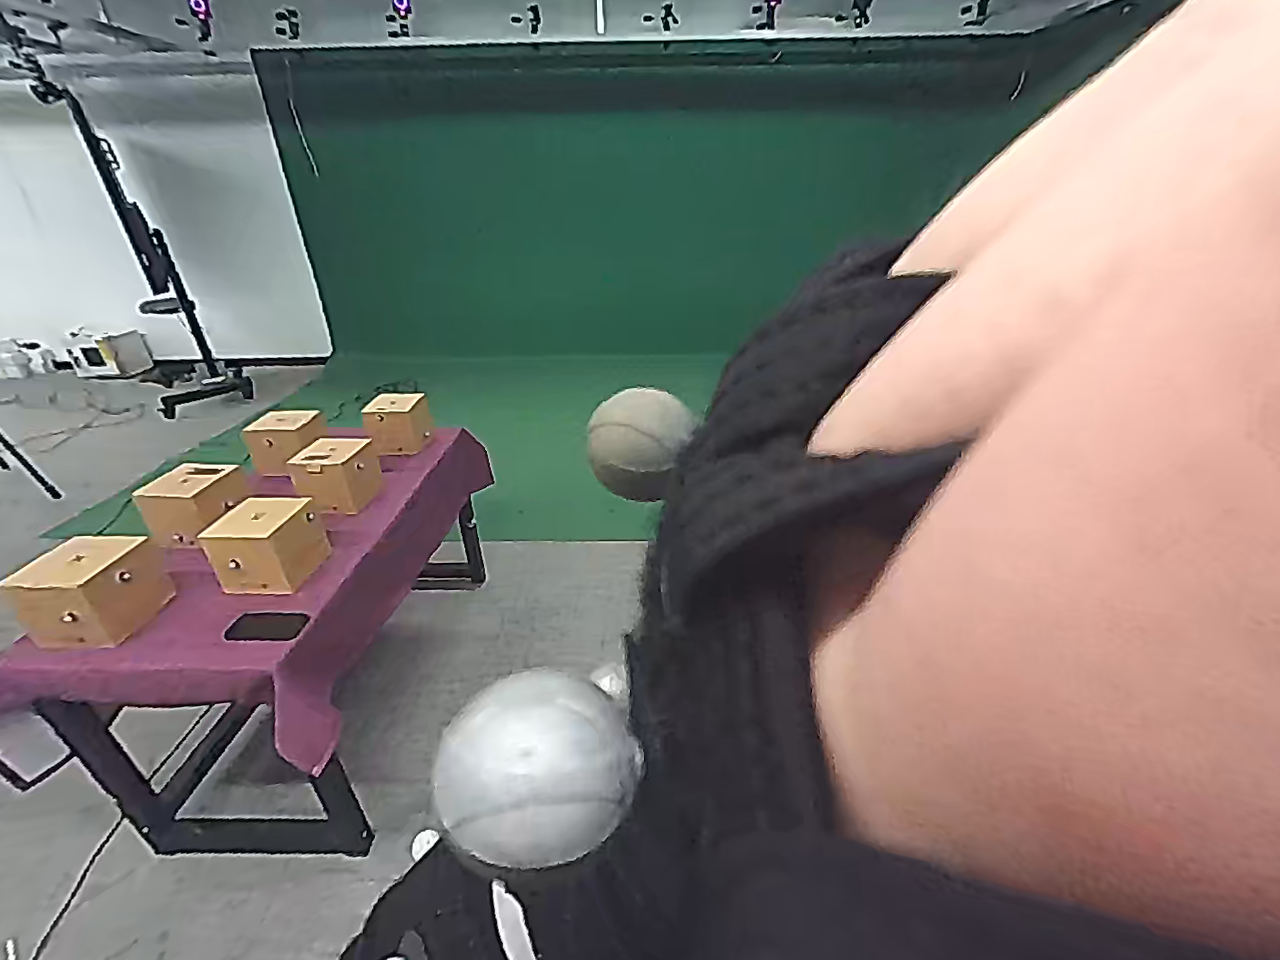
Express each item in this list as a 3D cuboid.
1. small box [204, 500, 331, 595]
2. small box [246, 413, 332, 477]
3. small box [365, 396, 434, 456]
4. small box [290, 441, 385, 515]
[{"bbox_3d":[-0.884,0.164,1.308,0.168,0.176,0.179,0,28,3],"label":"small box"},{"bbox_3d":[-1.170,-0.117,1.825,0.179,0.176,0.168,-1,29,-1],"label":"small box"},{"bbox_3d":[-0.861,-0.196,1.957,0.168,0.176,0.179,-1,29,1],"label":"small box"},{"bbox_3d":[-0.891,-0.007,1.617,0.168,0.176,0.179,1,28,4],"label":"small box"}]
